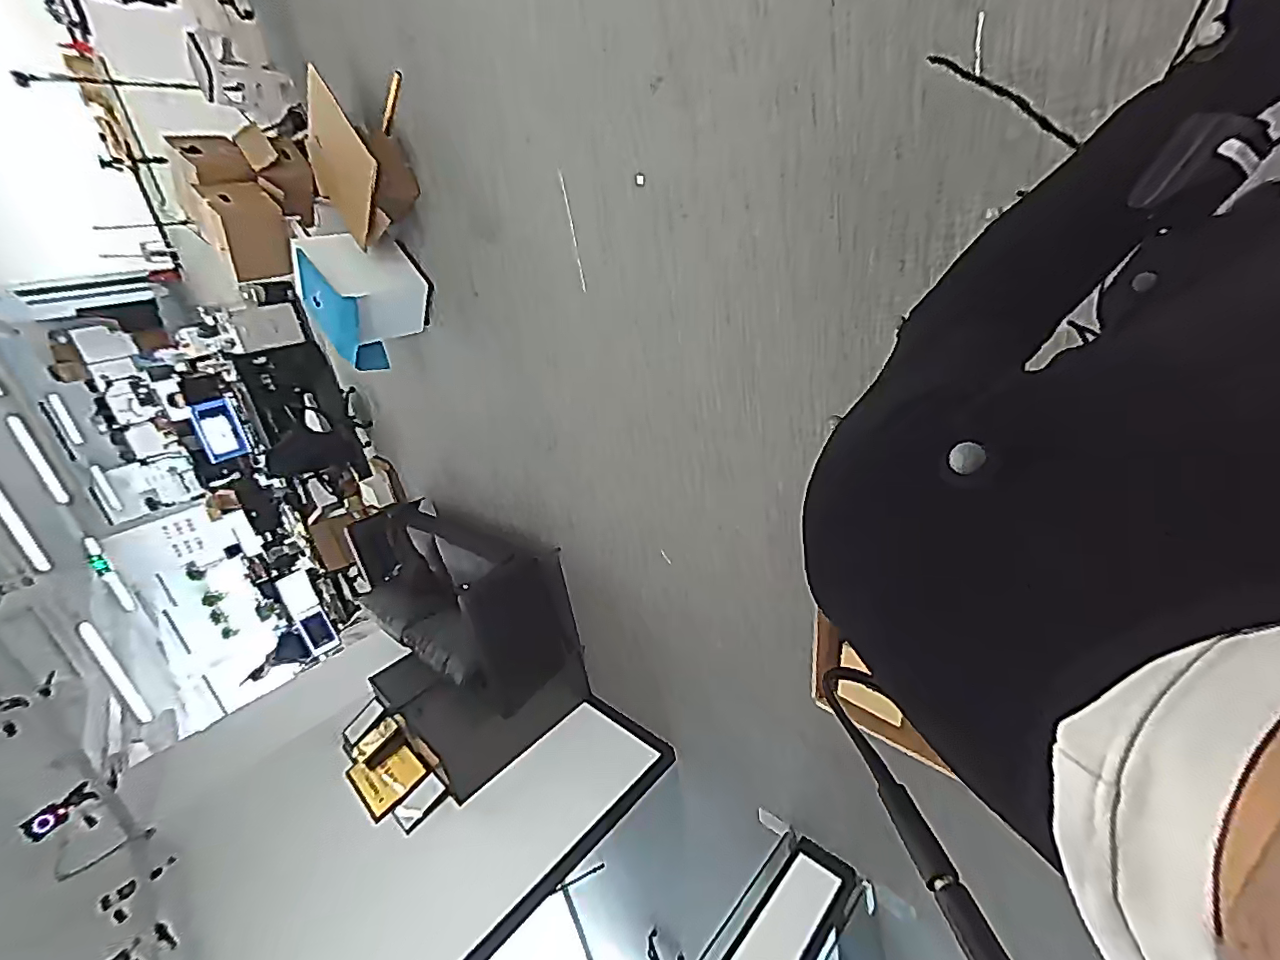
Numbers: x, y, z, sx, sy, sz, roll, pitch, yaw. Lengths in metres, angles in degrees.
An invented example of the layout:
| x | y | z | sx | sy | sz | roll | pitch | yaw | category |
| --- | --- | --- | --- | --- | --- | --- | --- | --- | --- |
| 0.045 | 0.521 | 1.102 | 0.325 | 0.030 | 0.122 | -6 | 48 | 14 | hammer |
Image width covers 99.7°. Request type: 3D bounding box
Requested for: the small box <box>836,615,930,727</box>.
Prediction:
| x | y | z | sx | sy | sz | roll | pitch | yaw | category |
| --- | --- | --- | --- | --- | --- | --- | --- | --- | --- |
| 0.629 | 0.486 | 1.400 | 0.168 | 0.176 | 0.179 | 19 | 124 | 41 | small box |
